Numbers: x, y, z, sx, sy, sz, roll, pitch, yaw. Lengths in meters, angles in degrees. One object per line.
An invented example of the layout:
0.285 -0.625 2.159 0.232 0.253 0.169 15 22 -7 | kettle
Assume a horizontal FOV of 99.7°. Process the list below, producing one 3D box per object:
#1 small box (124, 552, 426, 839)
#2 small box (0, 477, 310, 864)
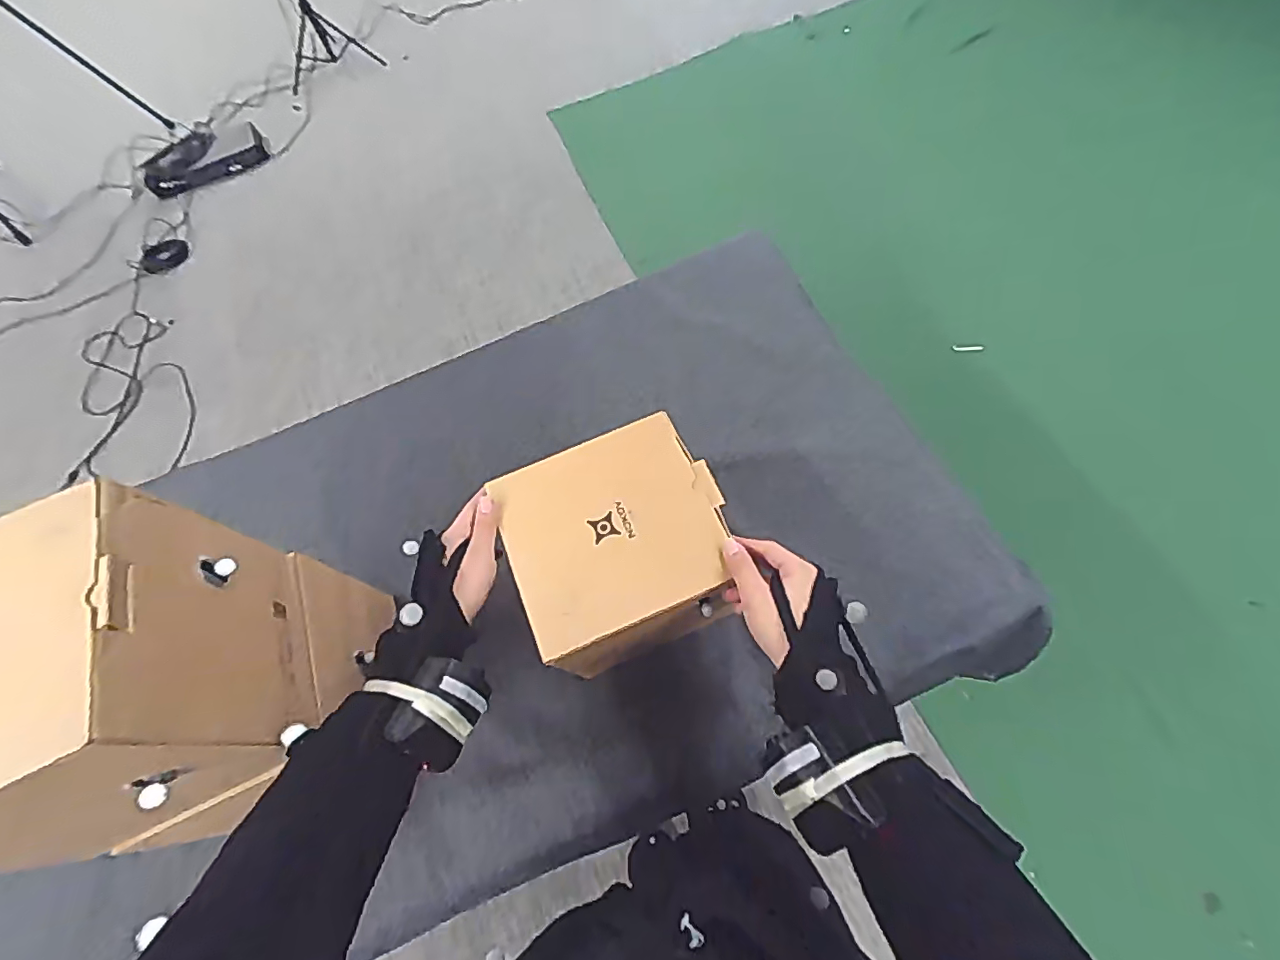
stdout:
-0.330 0.199 0.510 0.168 0.176 0.179 -25 64 -5 | small box
-0.355 0.131 0.365 0.179 0.176 0.168 -26 62 -4 | small box
